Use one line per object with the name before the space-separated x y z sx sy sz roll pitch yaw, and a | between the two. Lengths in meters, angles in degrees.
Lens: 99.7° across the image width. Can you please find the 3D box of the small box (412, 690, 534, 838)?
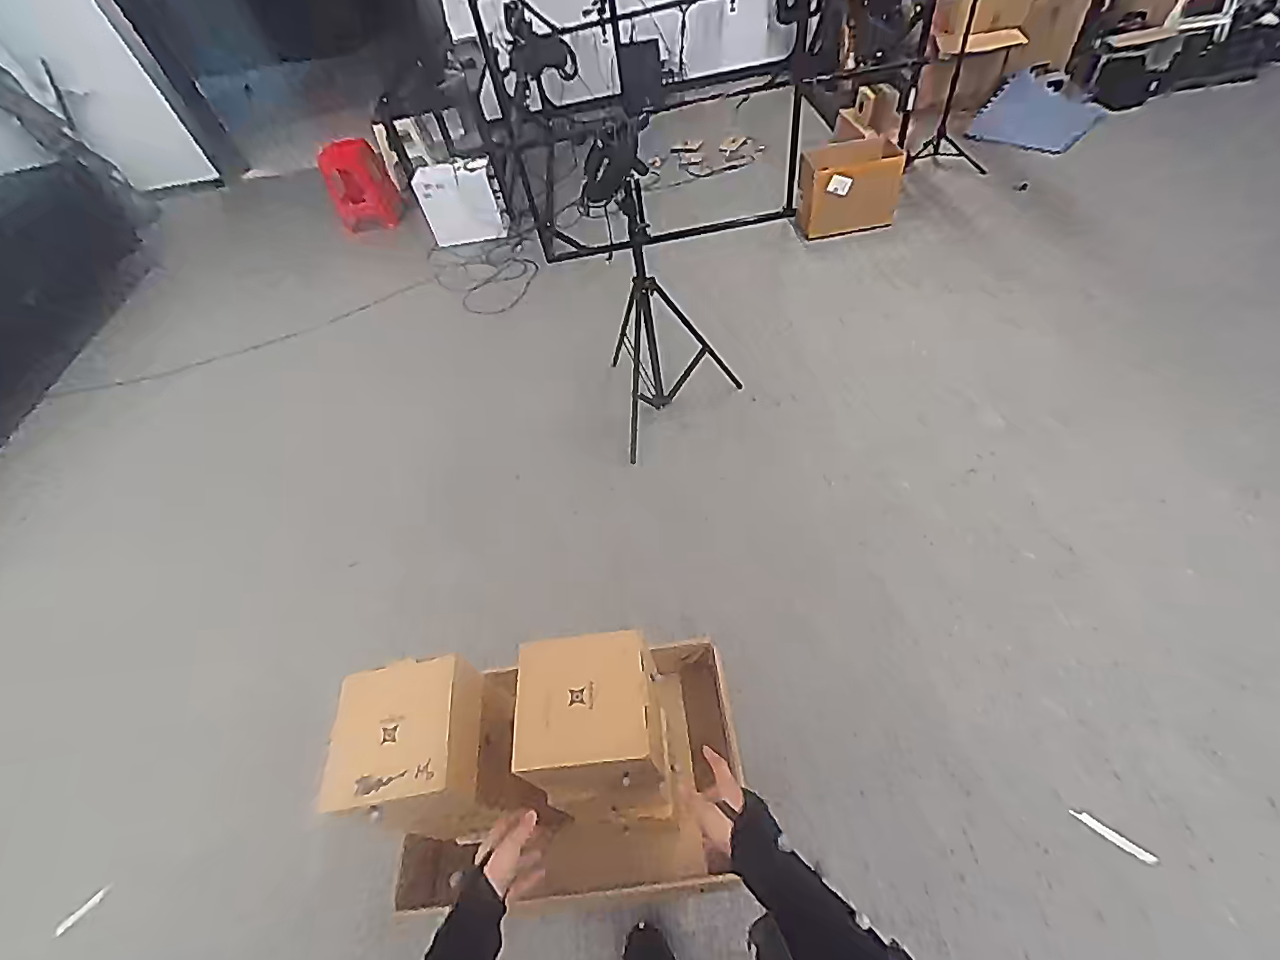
small box | -0.280 0.477 0.903 0.168 0.176 0.179 -12 51 3

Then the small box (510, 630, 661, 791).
small box | -0.067 0.331 0.767 0.179 0.176 0.168 -9 51 6

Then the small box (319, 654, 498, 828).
small box | -0.313 0.376 0.775 0.168 0.176 0.179 -12 50 4

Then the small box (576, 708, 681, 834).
small box | -0.018 0.546 1.009 0.168 0.176 0.179 -8 51 6
